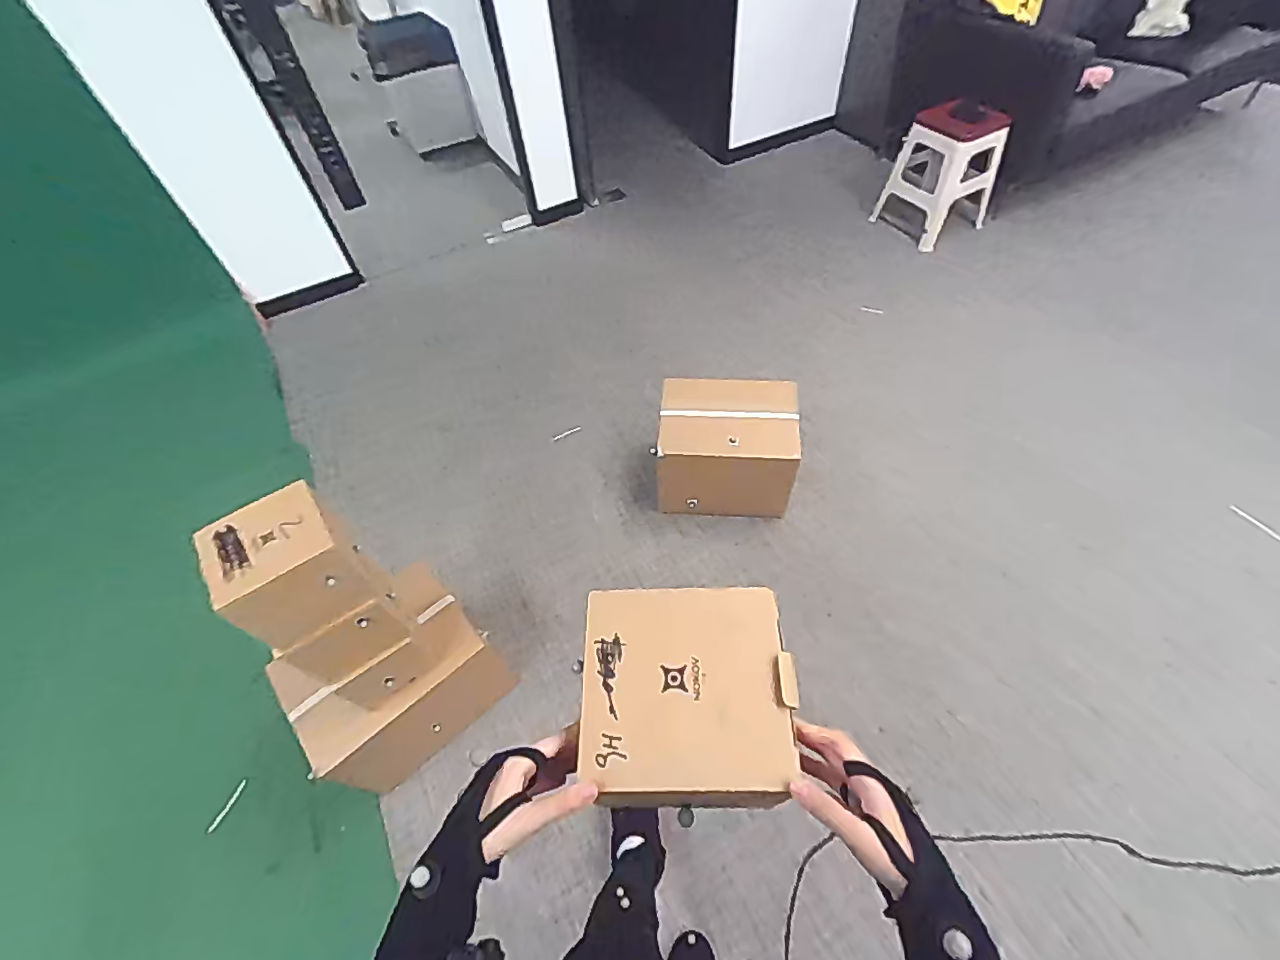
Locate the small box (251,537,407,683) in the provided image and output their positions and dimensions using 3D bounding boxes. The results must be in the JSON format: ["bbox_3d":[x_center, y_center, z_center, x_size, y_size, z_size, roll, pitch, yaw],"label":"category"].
[{"bbox_3d":[-0.572,0.246,1.010,0.179,0.176,0.168,-31,58,-19],"label":"small box"}]

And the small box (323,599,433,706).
[{"bbox_3d":[-0.564,0.349,1.135,0.168,0.176,0.179,-32,58,-20],"label":"small box"}]

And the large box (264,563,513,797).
[{"bbox_3d":[-0.591,0.492,1.337,0.408,0.320,0.320,-38,59,-21],"label":"large box"}]

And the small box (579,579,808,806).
[{"bbox_3d":[0.043,0.207,0.518,0.179,0.176,0.168,1,54,2],"label":"small box"}]
